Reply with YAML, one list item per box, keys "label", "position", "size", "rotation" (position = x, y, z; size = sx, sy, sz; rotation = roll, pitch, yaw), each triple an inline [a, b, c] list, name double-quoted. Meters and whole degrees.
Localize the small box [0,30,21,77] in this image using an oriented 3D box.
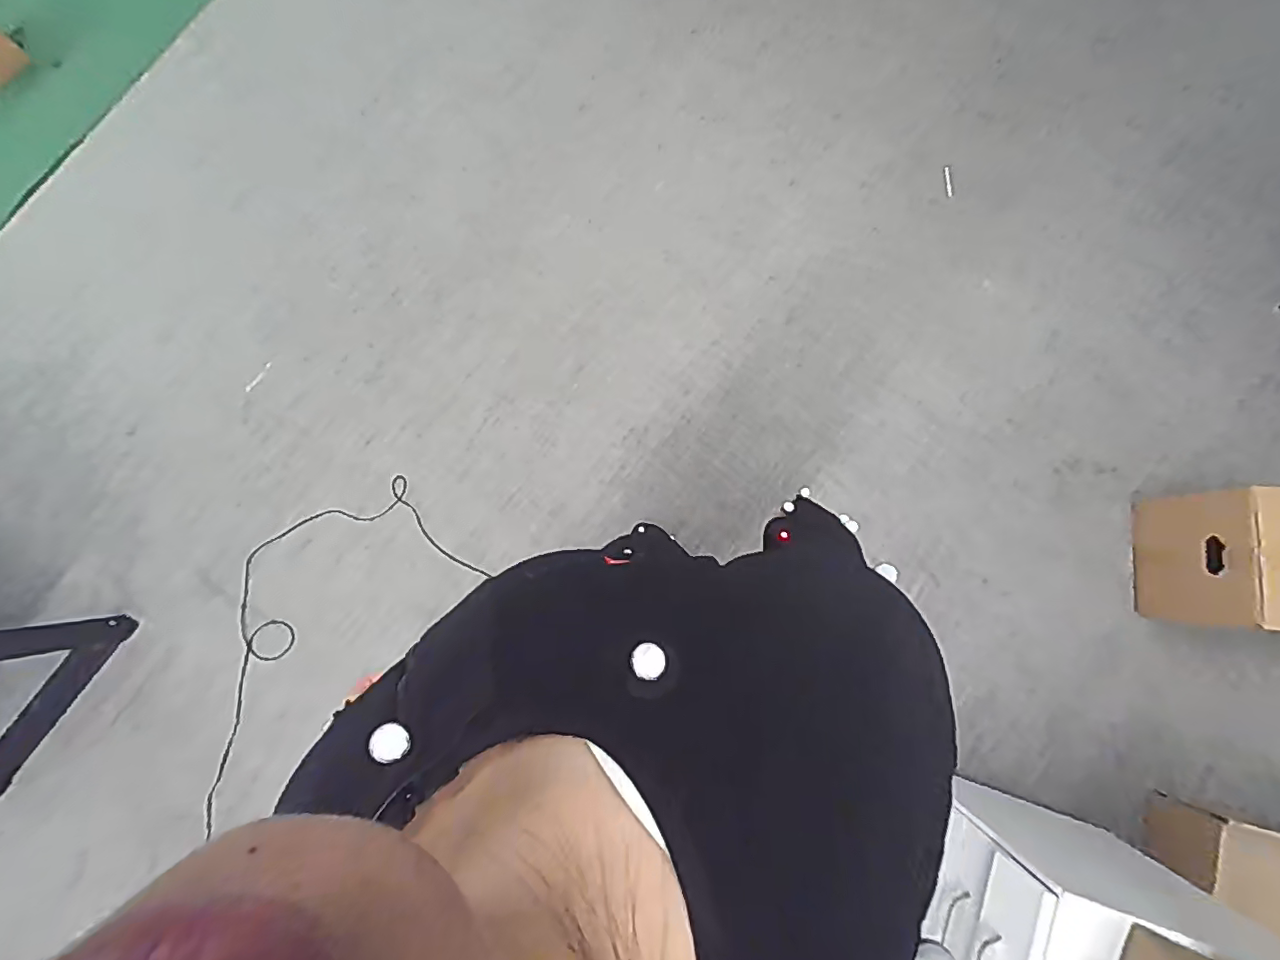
- label: "small box"
  position: [-2.112, -1.386, 1.680]
  size: [0.168, 0.176, 0.179]
  rotation: [41, 86, 5]
